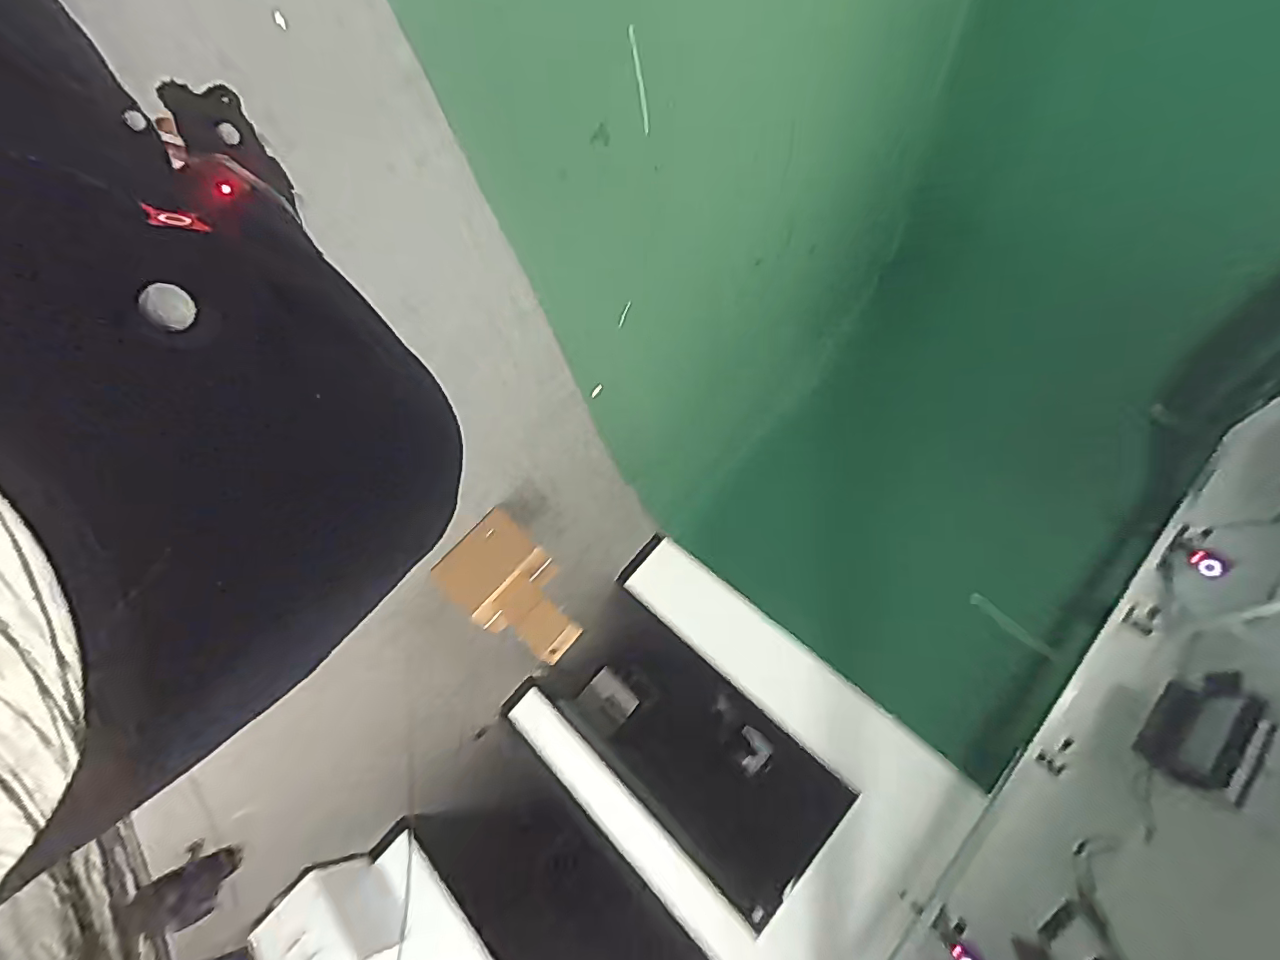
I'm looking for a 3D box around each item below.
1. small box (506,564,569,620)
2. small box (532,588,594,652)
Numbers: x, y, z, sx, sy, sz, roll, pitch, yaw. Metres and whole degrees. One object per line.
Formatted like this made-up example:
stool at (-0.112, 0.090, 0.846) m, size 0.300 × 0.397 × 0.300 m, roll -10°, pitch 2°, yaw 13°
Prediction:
small box at (-0.441, 0.491, 2.332) m, size 0.179 × 0.176 × 0.168 m, roll -46°, pitch 152°, yaw -10°
small box at (-0.329, 0.583, 2.255) m, size 0.179 × 0.176 × 0.168 m, roll -48°, pitch 153°, yaw -12°
